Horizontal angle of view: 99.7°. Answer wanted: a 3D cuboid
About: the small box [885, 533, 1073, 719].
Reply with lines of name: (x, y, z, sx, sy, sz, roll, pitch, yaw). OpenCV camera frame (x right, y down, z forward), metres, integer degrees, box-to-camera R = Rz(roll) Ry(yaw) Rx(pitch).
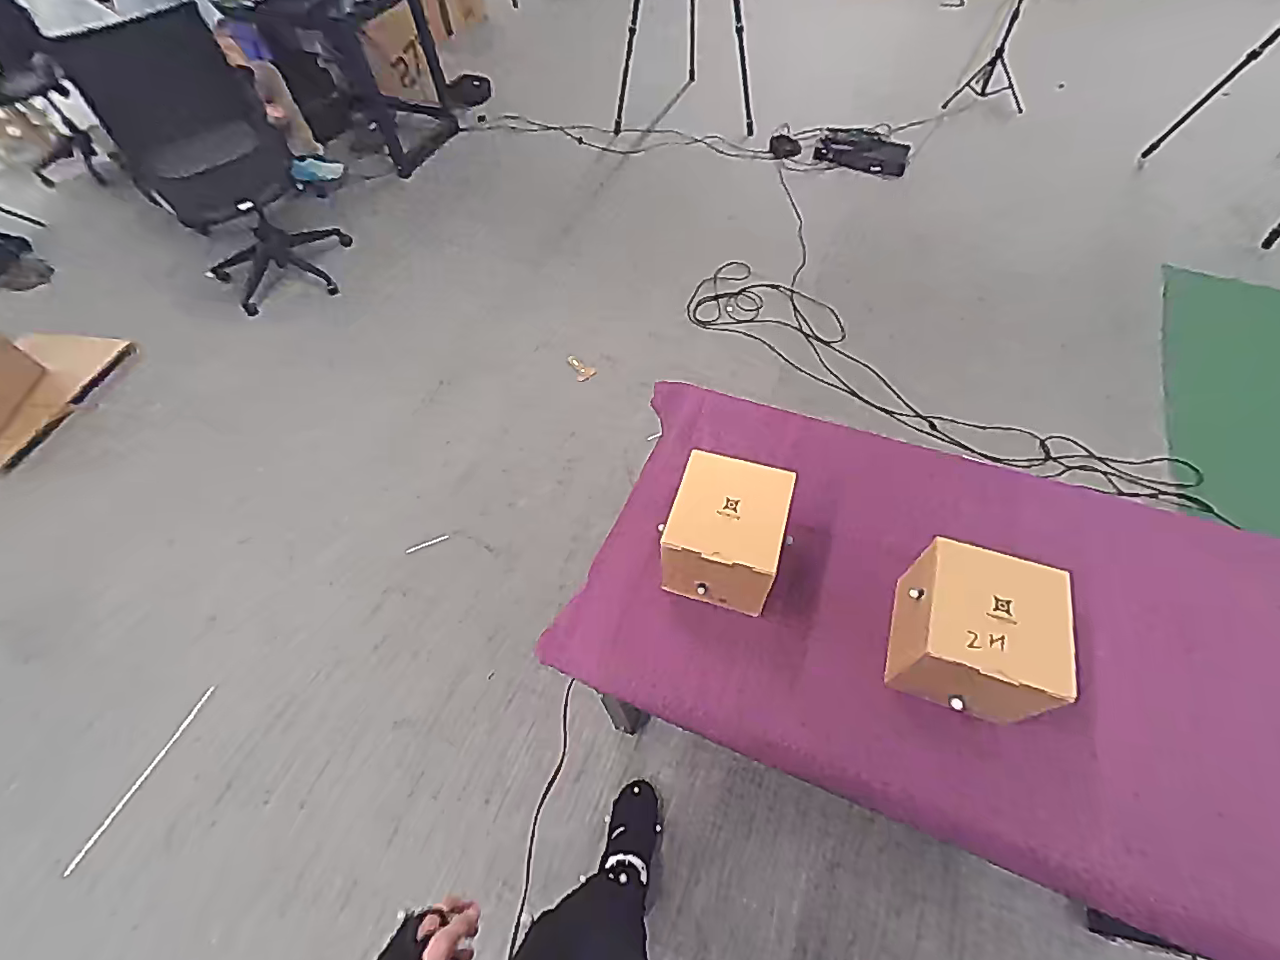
small box: (0.458, 0.206, 0.752, 0.168, 0.176, 0.179, 16, 59, 14)

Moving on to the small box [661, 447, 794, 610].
small box: (0.133, 0.080, 0.856, 0.168, 0.176, 0.179, 14, 59, 12)
